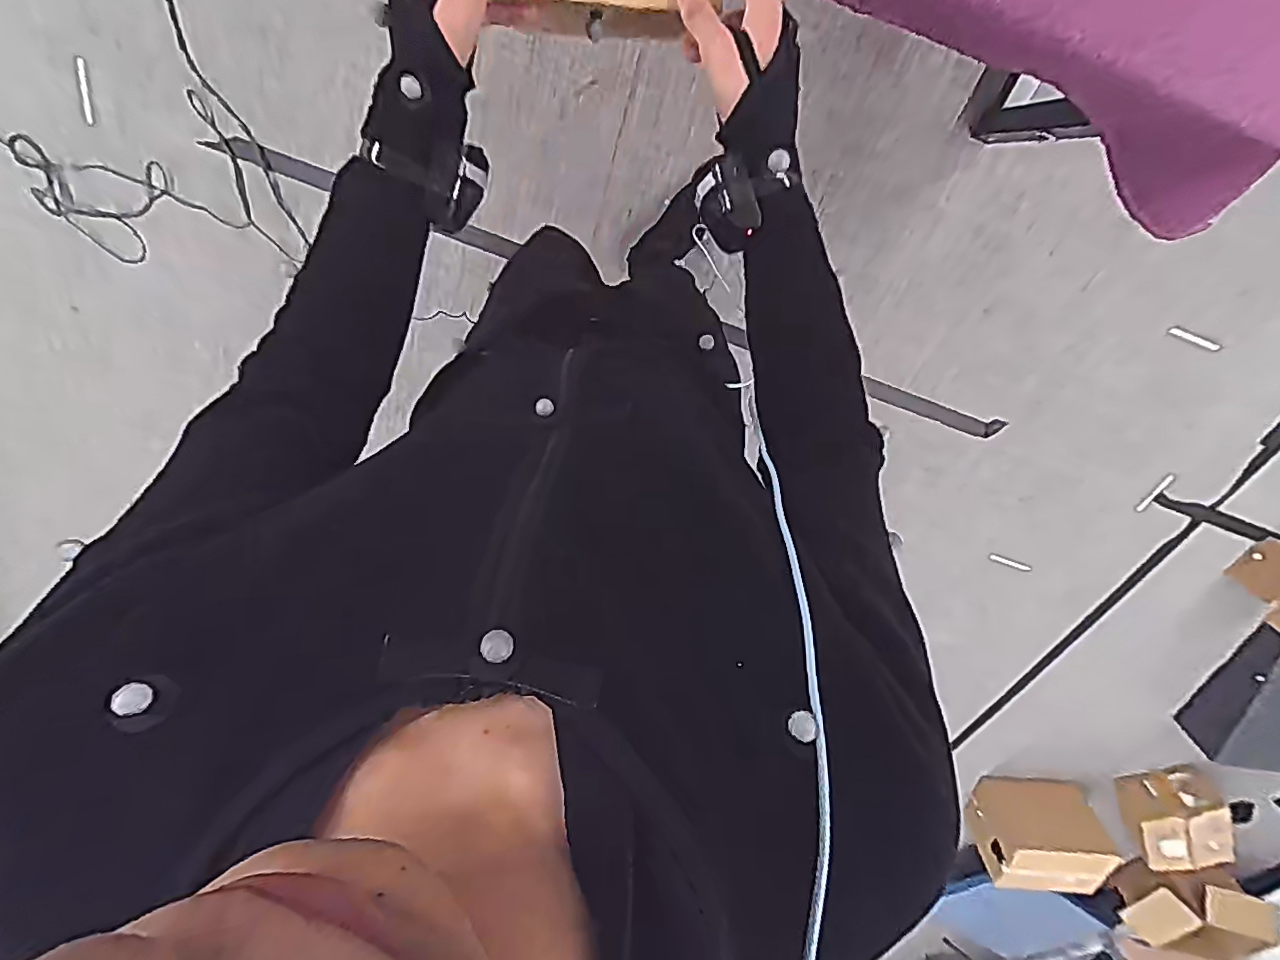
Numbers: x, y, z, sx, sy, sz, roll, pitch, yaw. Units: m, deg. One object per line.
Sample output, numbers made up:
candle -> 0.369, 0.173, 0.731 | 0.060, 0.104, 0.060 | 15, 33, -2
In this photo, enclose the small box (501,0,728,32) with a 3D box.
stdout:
small box -> -0.021, -0.458, 0.409 | 0.179, 0.176, 0.168 | 1, 124, -4
